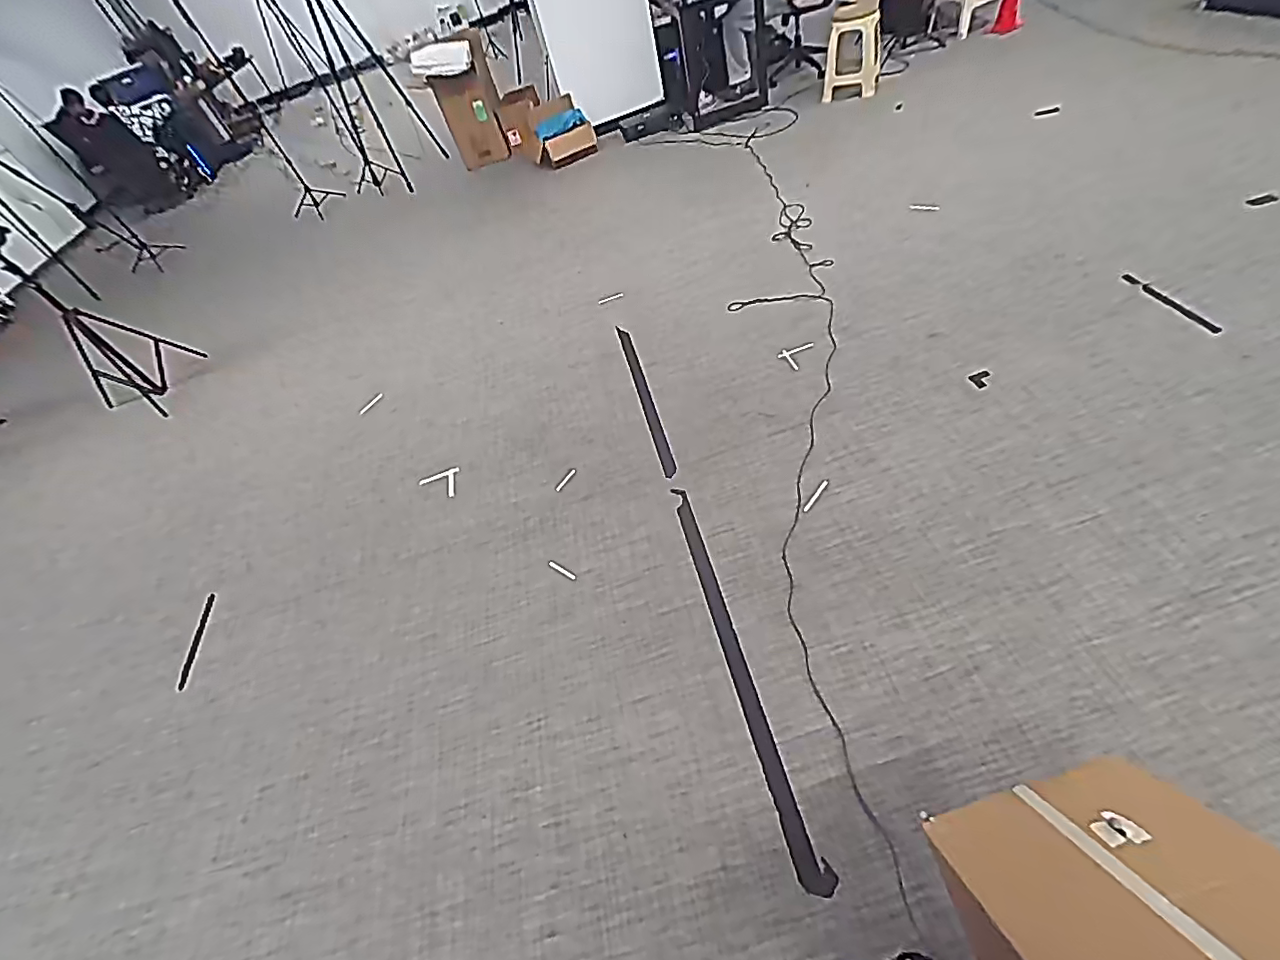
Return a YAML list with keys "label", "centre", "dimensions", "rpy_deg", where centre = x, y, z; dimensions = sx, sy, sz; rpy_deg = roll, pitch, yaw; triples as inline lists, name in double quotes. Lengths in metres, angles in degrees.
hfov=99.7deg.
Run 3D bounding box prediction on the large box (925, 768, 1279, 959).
- label: "large box"
  centre: [0.623, 0.620, 0.617]
  dimensions: [0.320, 0.408, 0.320]
  rpy_deg: [-20, 86, 1]
